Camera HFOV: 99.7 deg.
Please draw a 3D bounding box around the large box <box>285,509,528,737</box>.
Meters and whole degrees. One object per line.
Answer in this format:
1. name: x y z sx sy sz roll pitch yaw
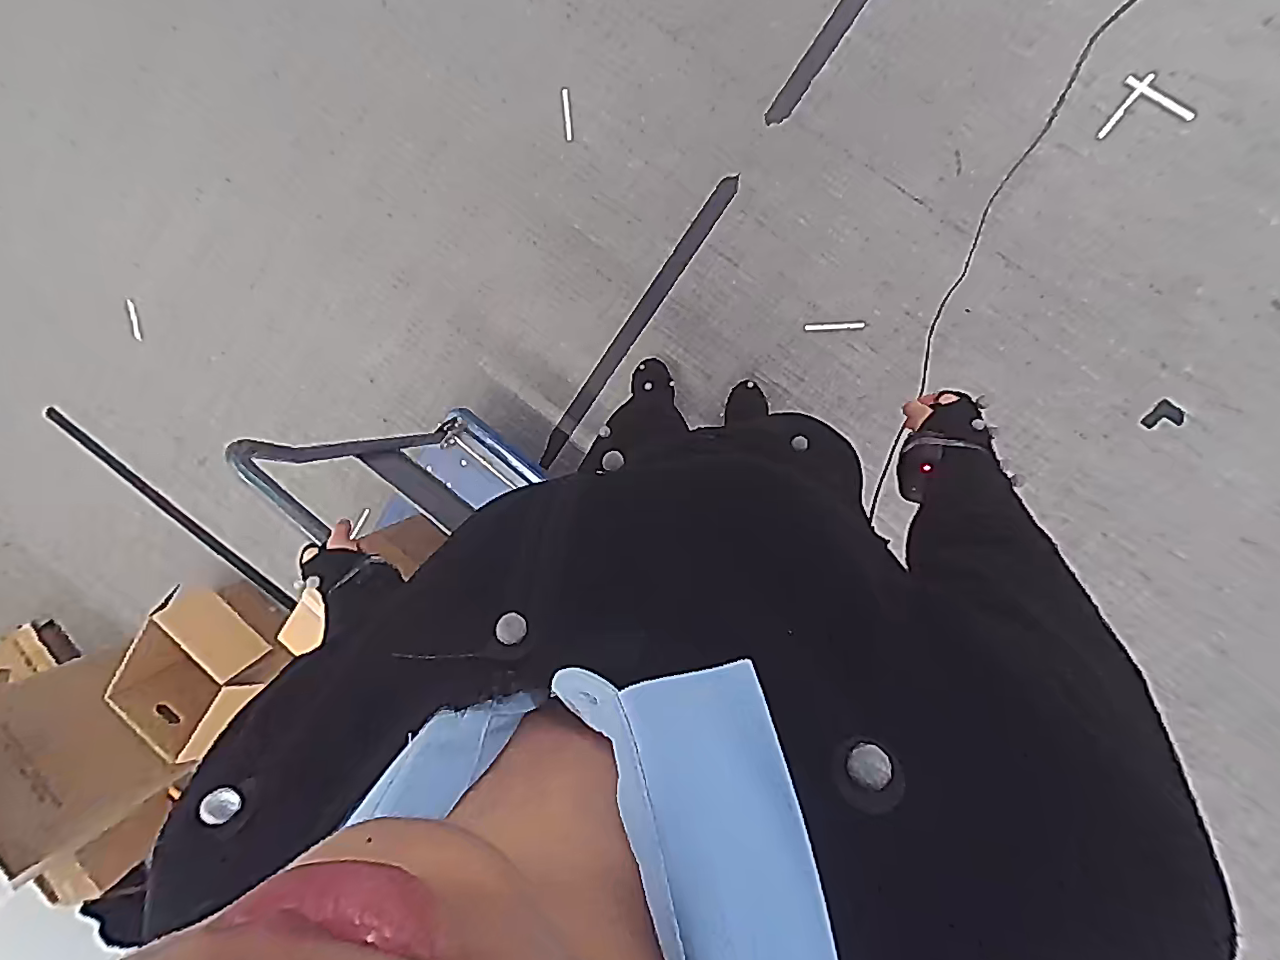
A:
1. large box: -0.573 0.340 1.378 0.408 0.320 0.320 41 107 1
